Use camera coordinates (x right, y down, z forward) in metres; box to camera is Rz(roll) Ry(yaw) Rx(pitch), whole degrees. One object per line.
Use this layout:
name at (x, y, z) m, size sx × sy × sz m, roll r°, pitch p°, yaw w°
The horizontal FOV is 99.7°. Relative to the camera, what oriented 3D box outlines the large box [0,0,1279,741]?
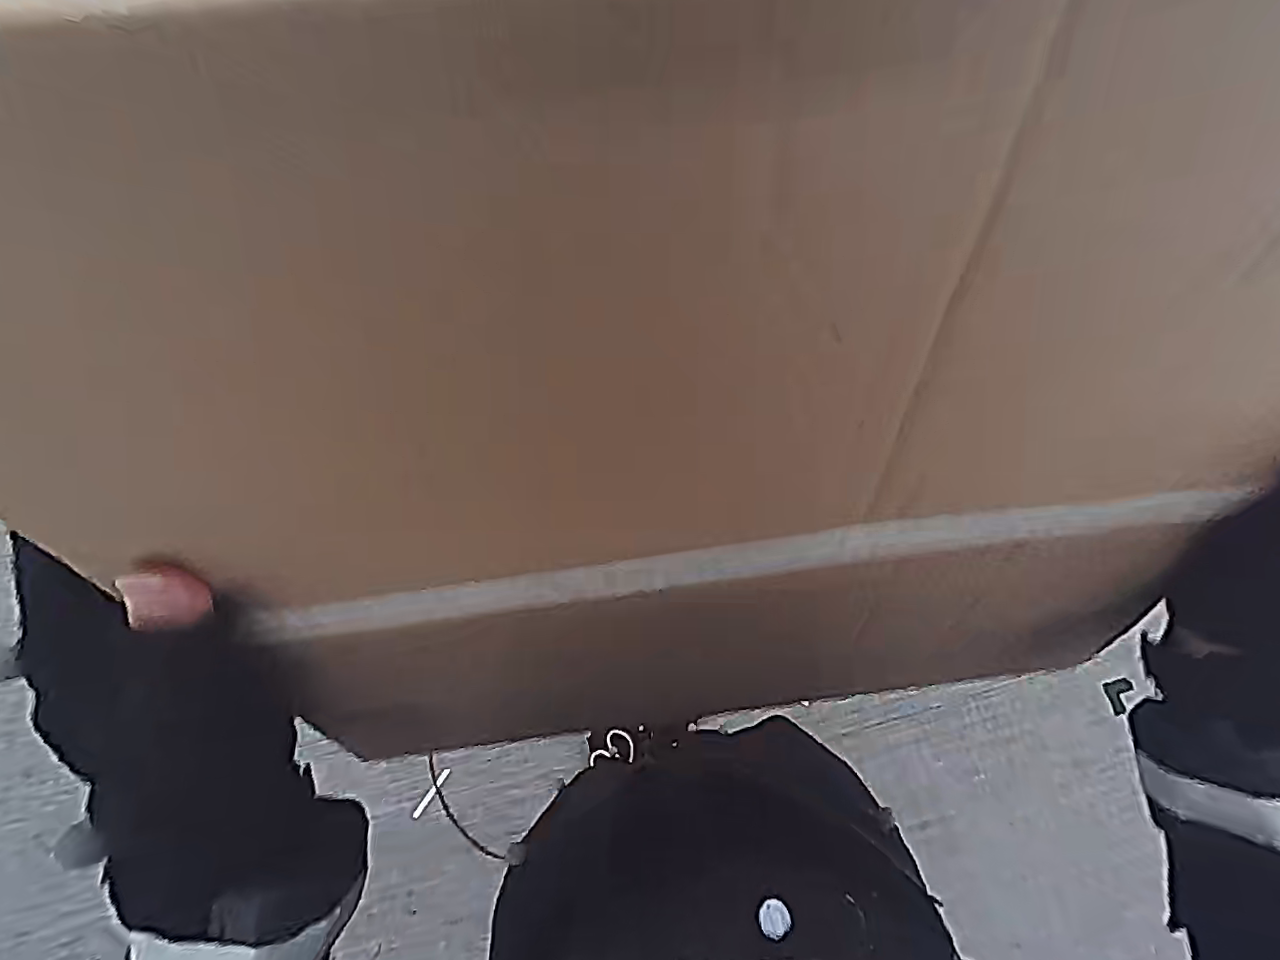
large box at (0.028, -0.088, 0.303) m, size 0.408 × 0.320 × 0.320 m, roll -7°, pitch 48°, yaw -2°
